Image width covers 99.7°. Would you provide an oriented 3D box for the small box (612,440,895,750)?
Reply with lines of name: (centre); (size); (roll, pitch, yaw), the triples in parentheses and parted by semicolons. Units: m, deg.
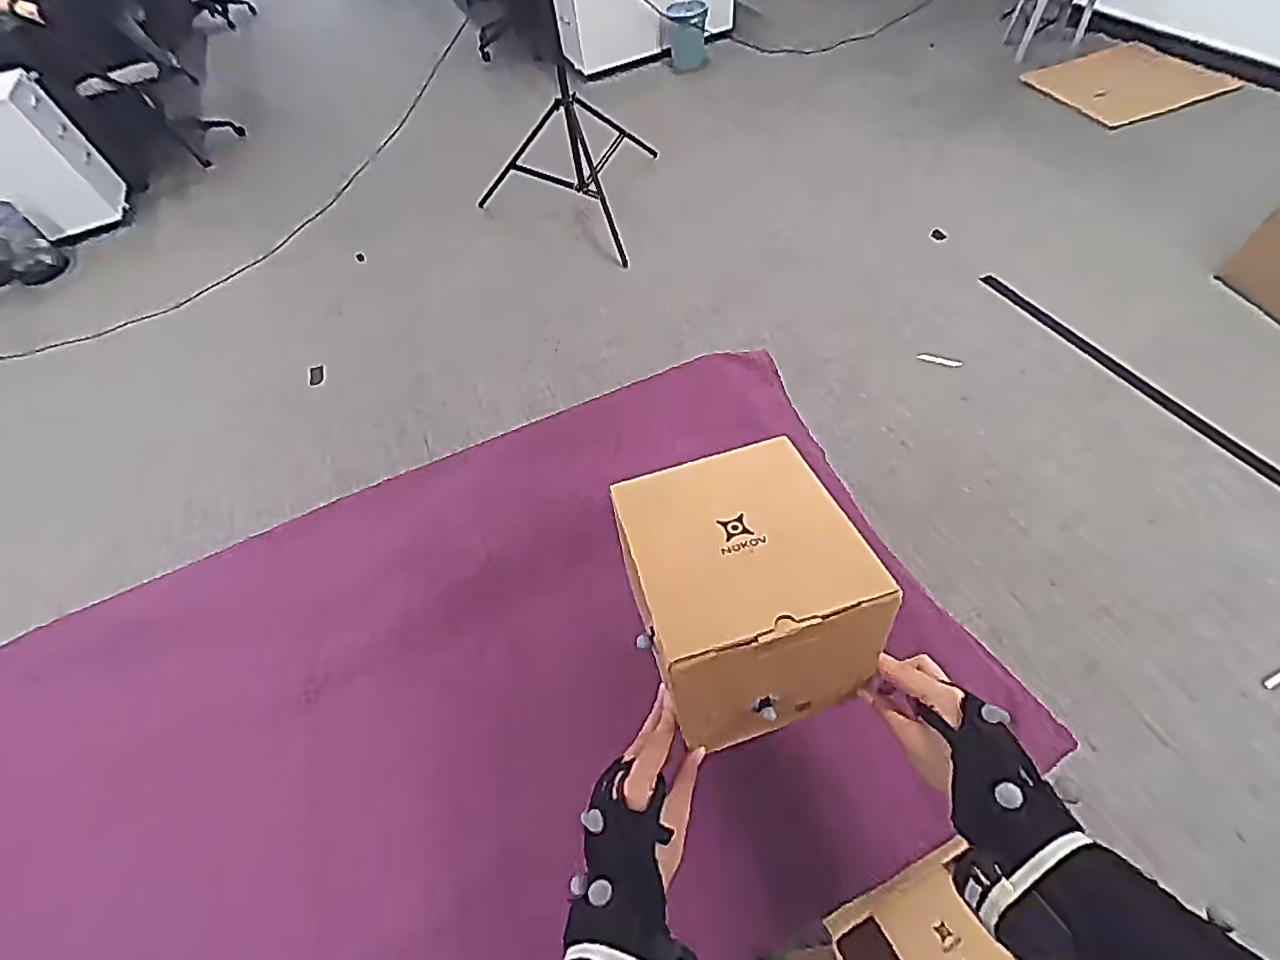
small box: (0.083, 0.098, 0.470); (0.168, 0.176, 0.179); (-17, 45, -6)
